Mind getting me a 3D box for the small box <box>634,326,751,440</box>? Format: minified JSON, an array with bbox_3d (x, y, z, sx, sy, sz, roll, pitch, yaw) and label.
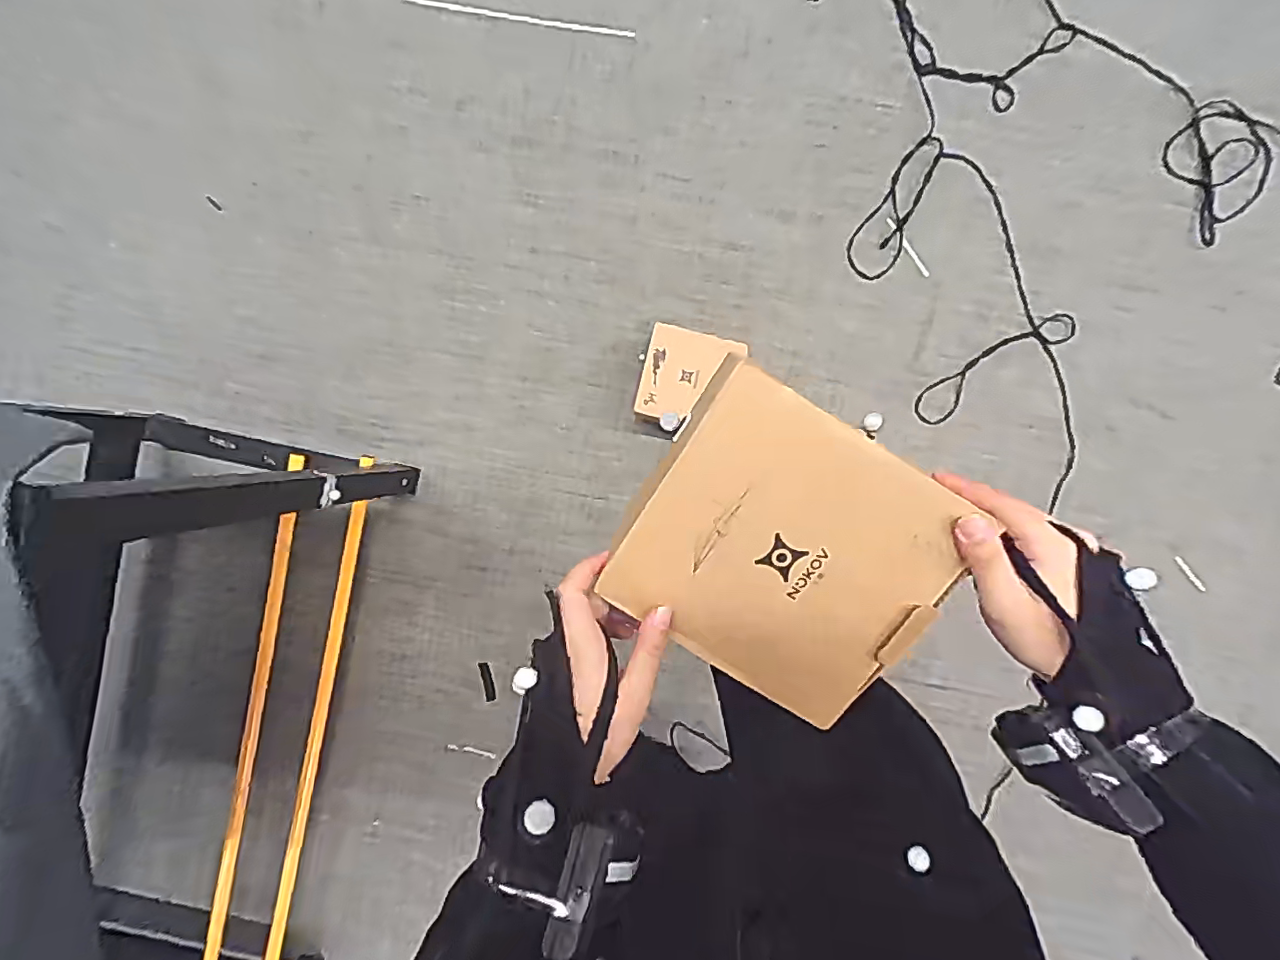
[{"bbox_3d":[0.094,-0.178,1.039,0.179,0.176,0.168,15,93,0],"label":"small box"}]
